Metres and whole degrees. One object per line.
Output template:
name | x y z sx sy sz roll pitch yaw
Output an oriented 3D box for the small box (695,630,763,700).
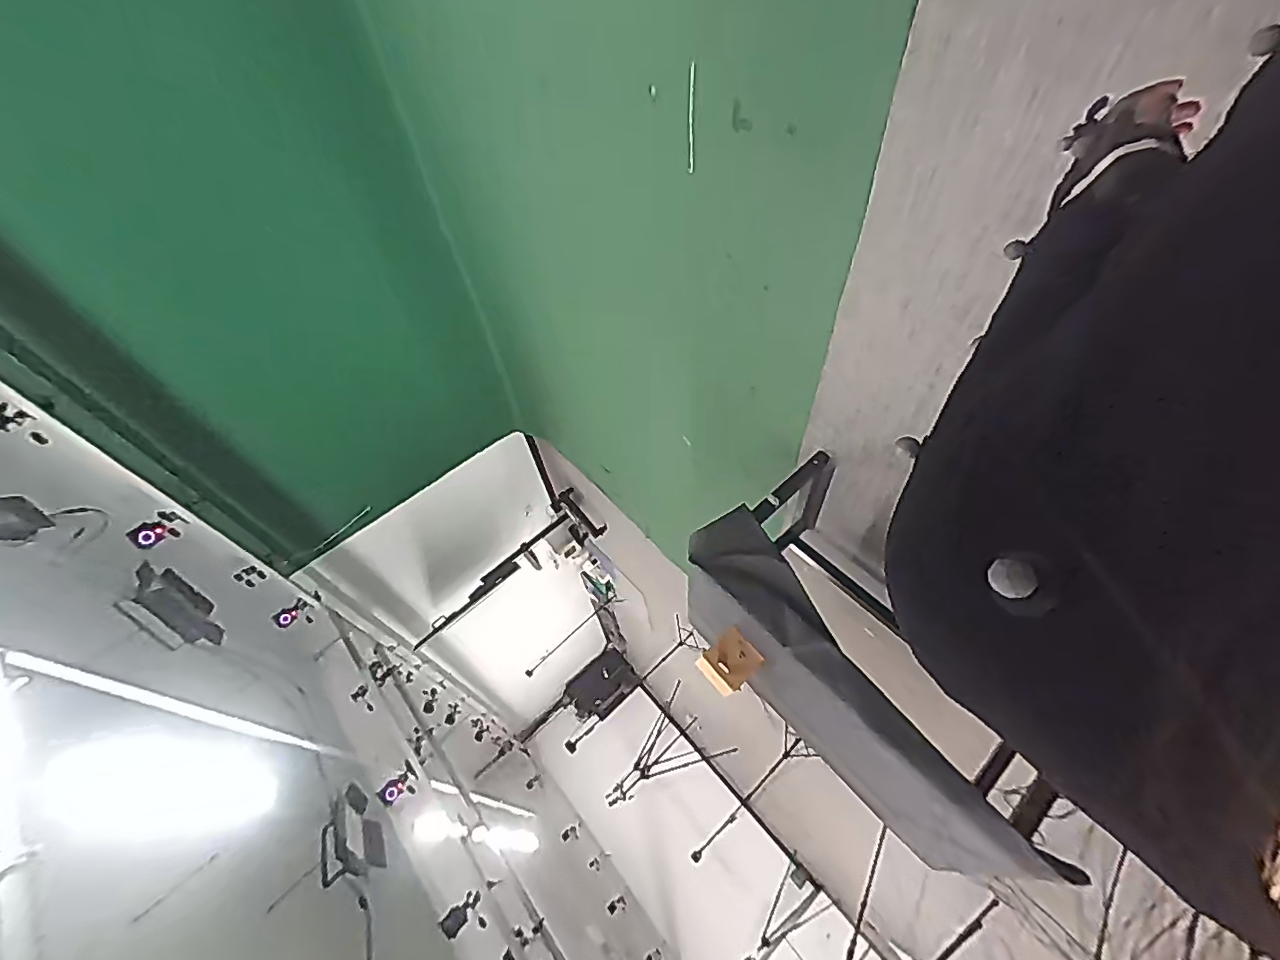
small box | 0.328 0.680 1.993 0.168 0.176 0.179 47 159 19
